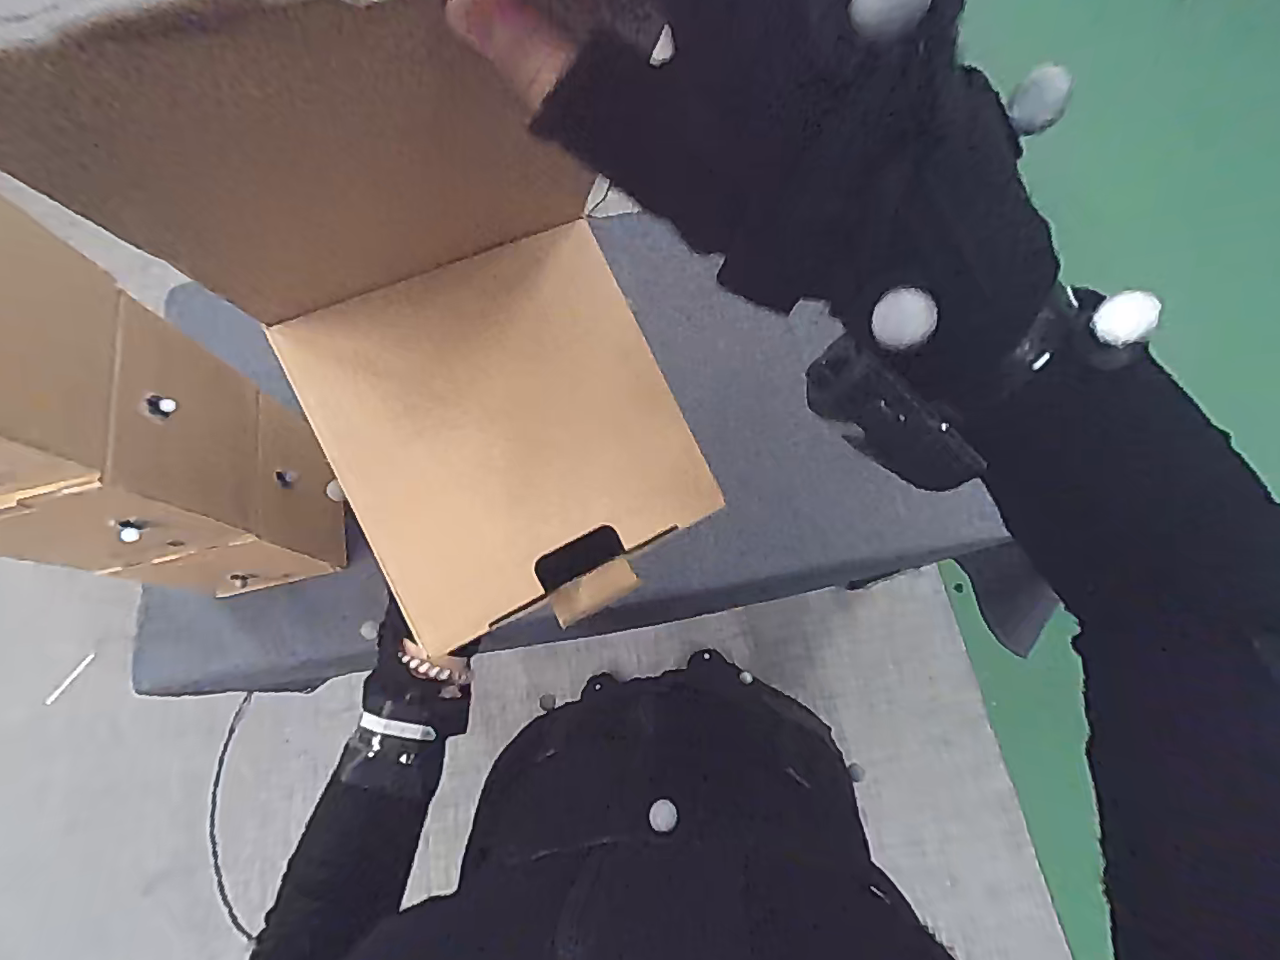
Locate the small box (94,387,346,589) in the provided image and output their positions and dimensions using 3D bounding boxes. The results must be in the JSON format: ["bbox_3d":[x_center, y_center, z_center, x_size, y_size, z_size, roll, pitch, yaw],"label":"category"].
[{"bbox_3d":[-0.473,0.018,0.638,0.168,0.176,0.179,-13,72,-3],"label":"small box"}]

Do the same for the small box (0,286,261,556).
[{"bbox_3d":[-0.476,-0.037,0.485,0.168,0.176,0.179,-12,71,-3],"label":"small box"}]

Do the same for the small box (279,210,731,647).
[{"bbox_3d":[-0.075,-0.023,0.340,0.168,0.176,0.179,-25,89,-13],"label":"small box"}]

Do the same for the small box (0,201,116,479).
[{"bbox_3d":[-0.482,-0.097,0.332,0.168,0.176,0.179,-13,71,-4],"label":"small box"}]
